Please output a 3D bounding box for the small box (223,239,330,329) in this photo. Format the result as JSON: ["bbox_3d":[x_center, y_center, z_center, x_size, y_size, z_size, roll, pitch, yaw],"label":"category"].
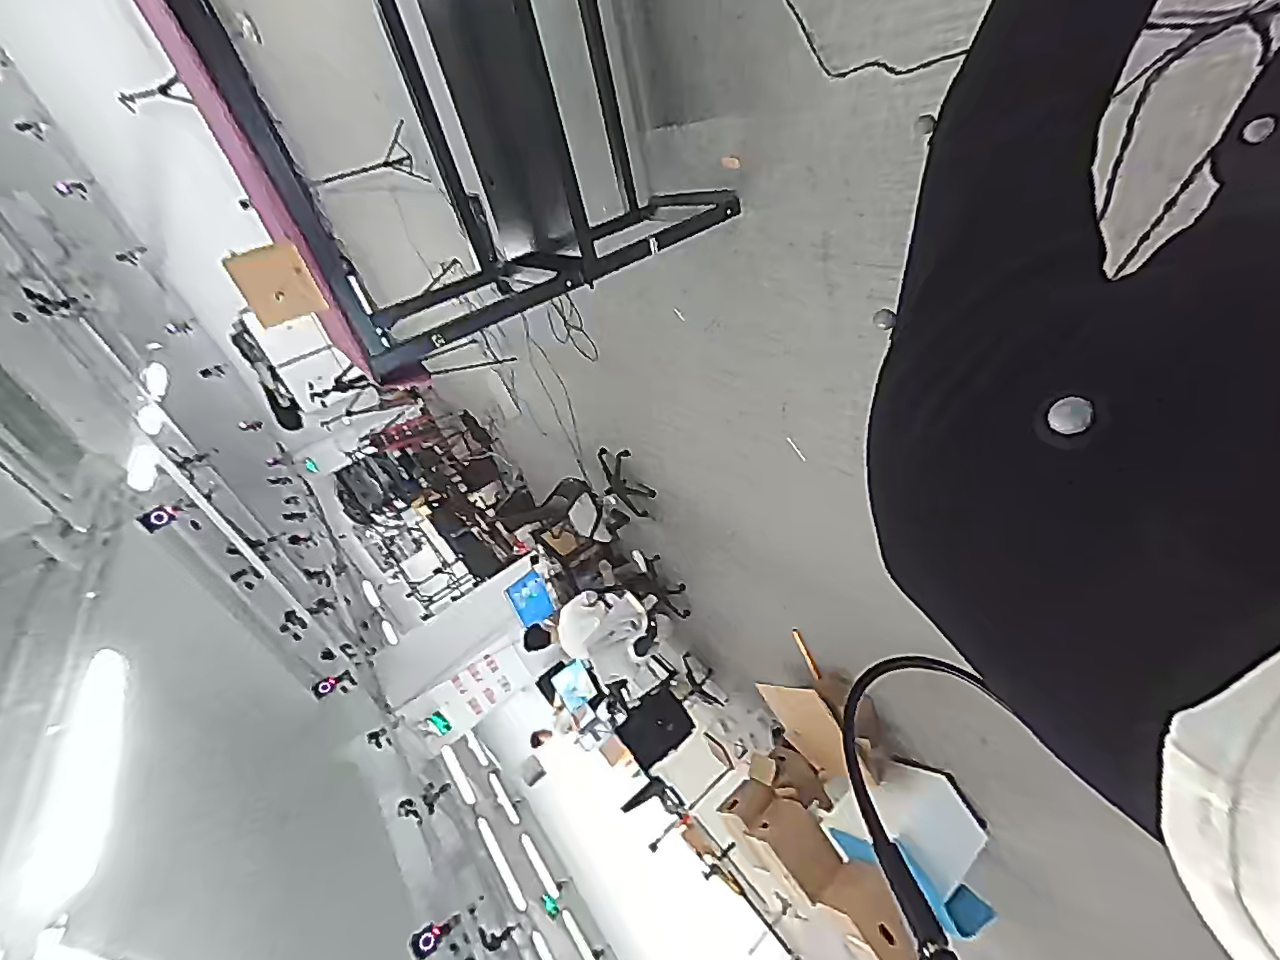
[{"bbox_3d":[-0.935,-0.512,1.401,0.179,0.176,0.168,33,147,47],"label":"small box"}]
